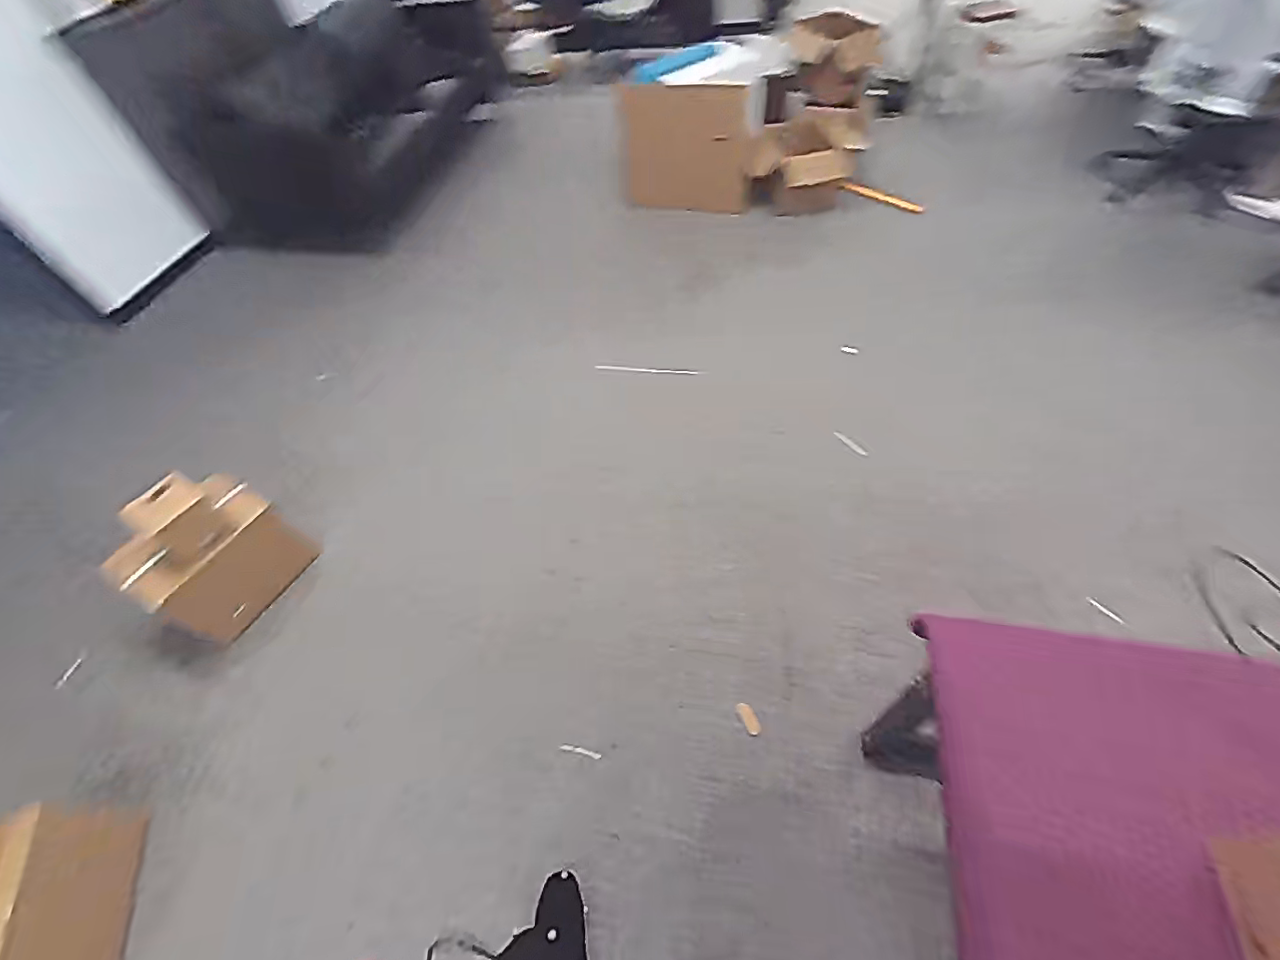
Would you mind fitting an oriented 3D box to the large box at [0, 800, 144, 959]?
[{"bbox_3d":[-1.458,1.029,1.252,0.320,0.320,0.408,-20,54,-7],"label":"large box"}]

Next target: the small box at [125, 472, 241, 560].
[{"bbox_3d":[-1.361,0.111,1.620,0.179,0.176,0.168,26,60,22],"label":"small box"}]
